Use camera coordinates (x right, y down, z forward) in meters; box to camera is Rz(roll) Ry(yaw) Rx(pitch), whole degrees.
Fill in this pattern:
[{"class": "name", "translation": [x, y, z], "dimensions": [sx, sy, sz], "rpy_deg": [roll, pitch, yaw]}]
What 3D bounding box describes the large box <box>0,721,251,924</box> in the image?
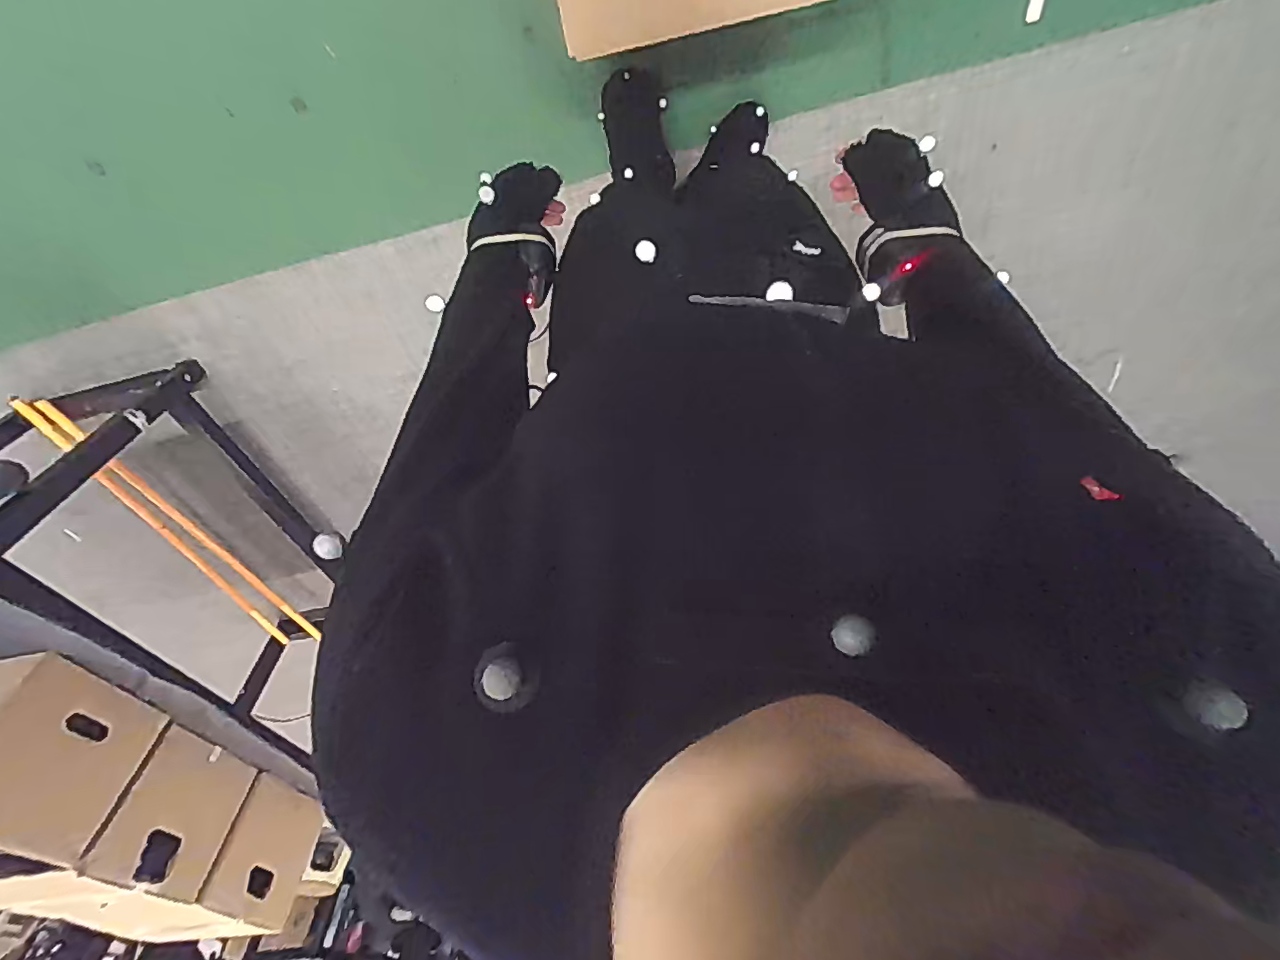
[{"class": "large box", "translation": [-1.284, 0.823, 1.301], "dimensions": [0.408, 0.320, 0.320], "rpy_deg": [-12, 130, 8]}]
